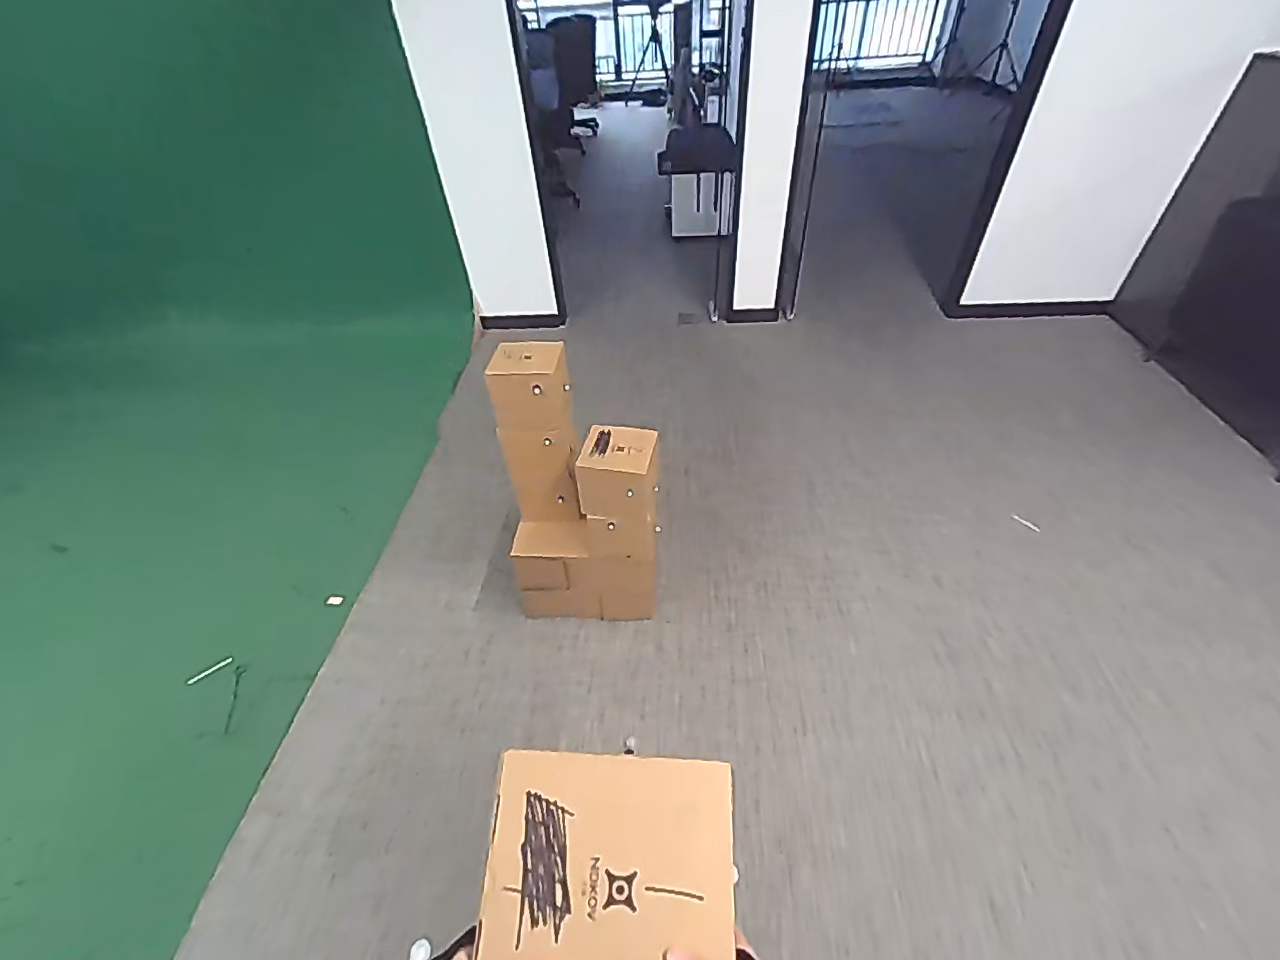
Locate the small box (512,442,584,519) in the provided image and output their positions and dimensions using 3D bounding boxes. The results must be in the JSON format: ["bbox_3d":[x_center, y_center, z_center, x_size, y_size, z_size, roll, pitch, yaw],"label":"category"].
[{"bbox_3d":[-0.266,0.004,1.618,0.179,0.176,0.168,-2,41,3],"label":"small box"}]

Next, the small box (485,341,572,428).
[{"bbox_3d":[-0.279,-0.245,1.406,0.179,0.176,0.168,0,40,5],"label":"small box"}]

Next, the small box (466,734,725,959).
[{"bbox_3d":[-0.025,0.313,0.454,0.179,0.176,0.168,3,64,2],"label":"small box"}]

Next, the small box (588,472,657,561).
[{"bbox_3d":[-0.043,0.100,1.494,0.168,0.176,0.179,3,42,7],"label":"small box"}]

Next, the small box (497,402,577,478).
[{"bbox_3d":[-0.281,-0.119,1.513,0.179,0.176,0.168,0,41,3],"label":"small box"}]
